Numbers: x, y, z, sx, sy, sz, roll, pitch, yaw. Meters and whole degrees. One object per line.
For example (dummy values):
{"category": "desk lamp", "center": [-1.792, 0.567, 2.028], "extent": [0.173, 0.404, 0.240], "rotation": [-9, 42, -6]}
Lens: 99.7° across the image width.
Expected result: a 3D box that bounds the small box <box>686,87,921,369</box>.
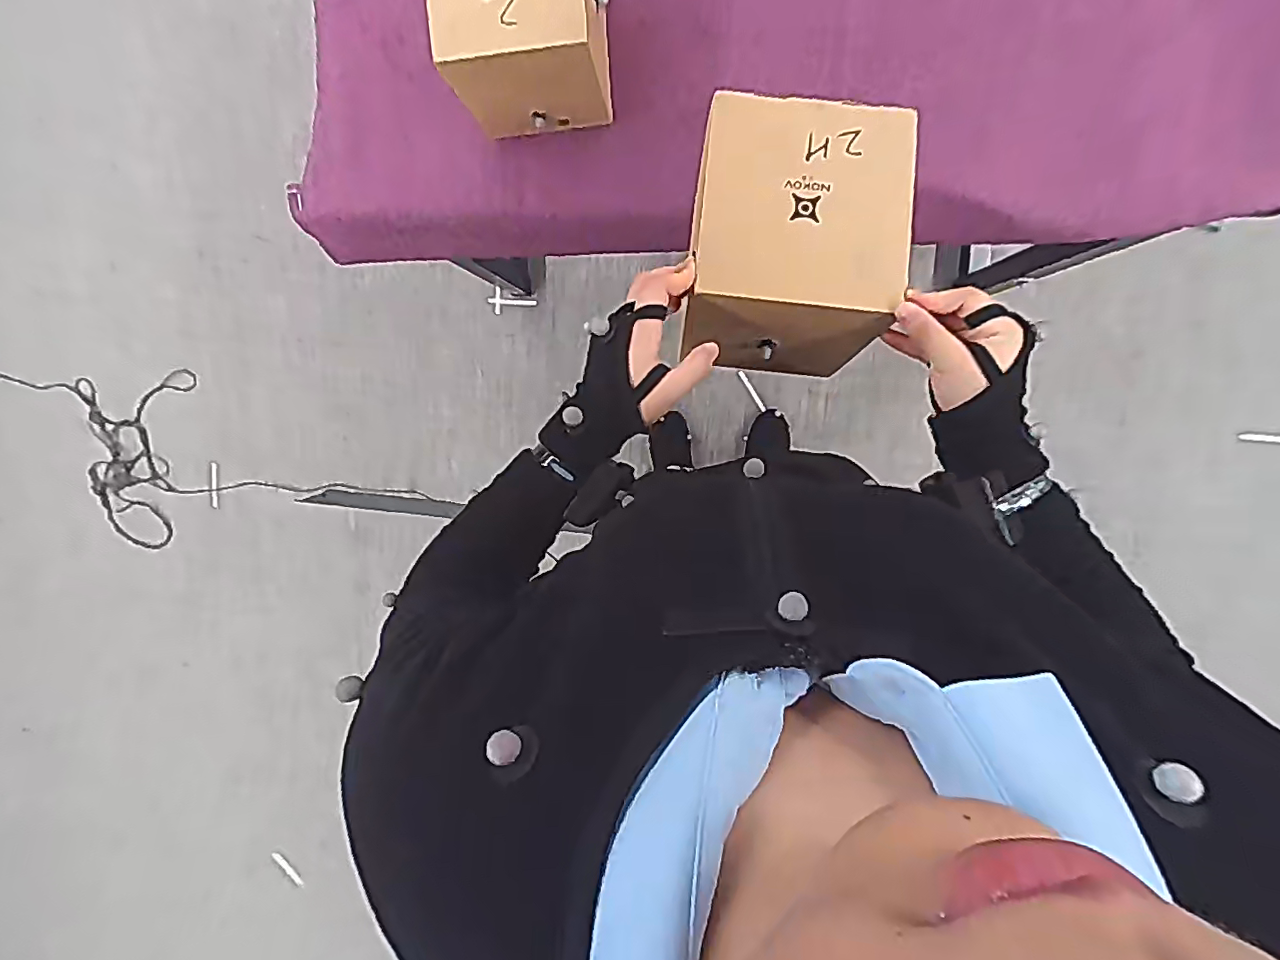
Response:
{"category": "small box", "center": [0.136, -0.215, 0.505], "extent": [0.168, 0.176, 0.179], "rotation": [6, 83, 1]}
